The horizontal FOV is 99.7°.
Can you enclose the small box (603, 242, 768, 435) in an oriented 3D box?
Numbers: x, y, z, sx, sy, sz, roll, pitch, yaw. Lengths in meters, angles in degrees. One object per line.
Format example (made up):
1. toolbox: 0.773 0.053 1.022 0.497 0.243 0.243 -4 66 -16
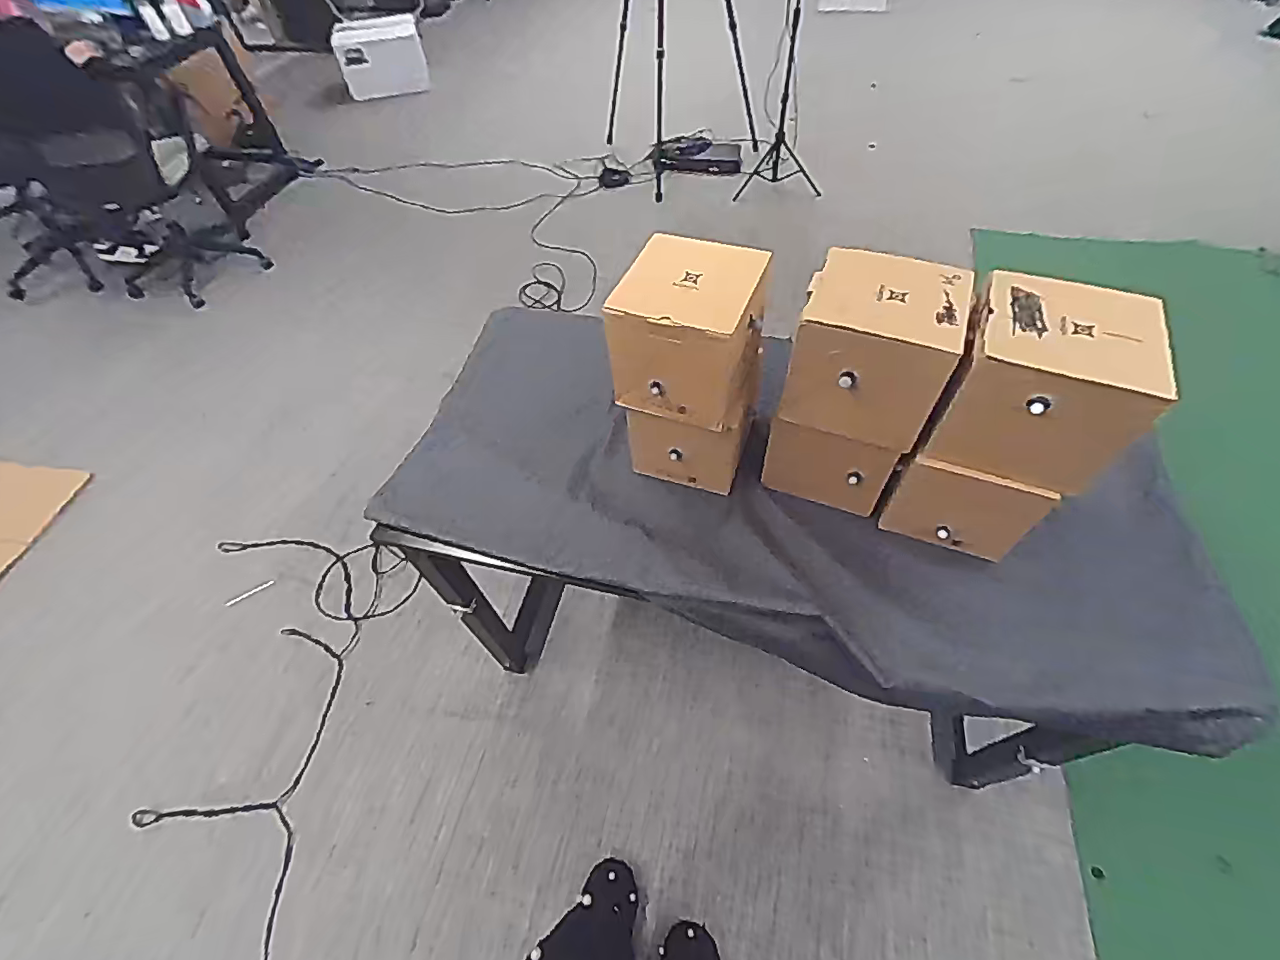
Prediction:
1. small box: 0.065 -0.194 0.746 0.168 0.176 0.179 16 58 17
